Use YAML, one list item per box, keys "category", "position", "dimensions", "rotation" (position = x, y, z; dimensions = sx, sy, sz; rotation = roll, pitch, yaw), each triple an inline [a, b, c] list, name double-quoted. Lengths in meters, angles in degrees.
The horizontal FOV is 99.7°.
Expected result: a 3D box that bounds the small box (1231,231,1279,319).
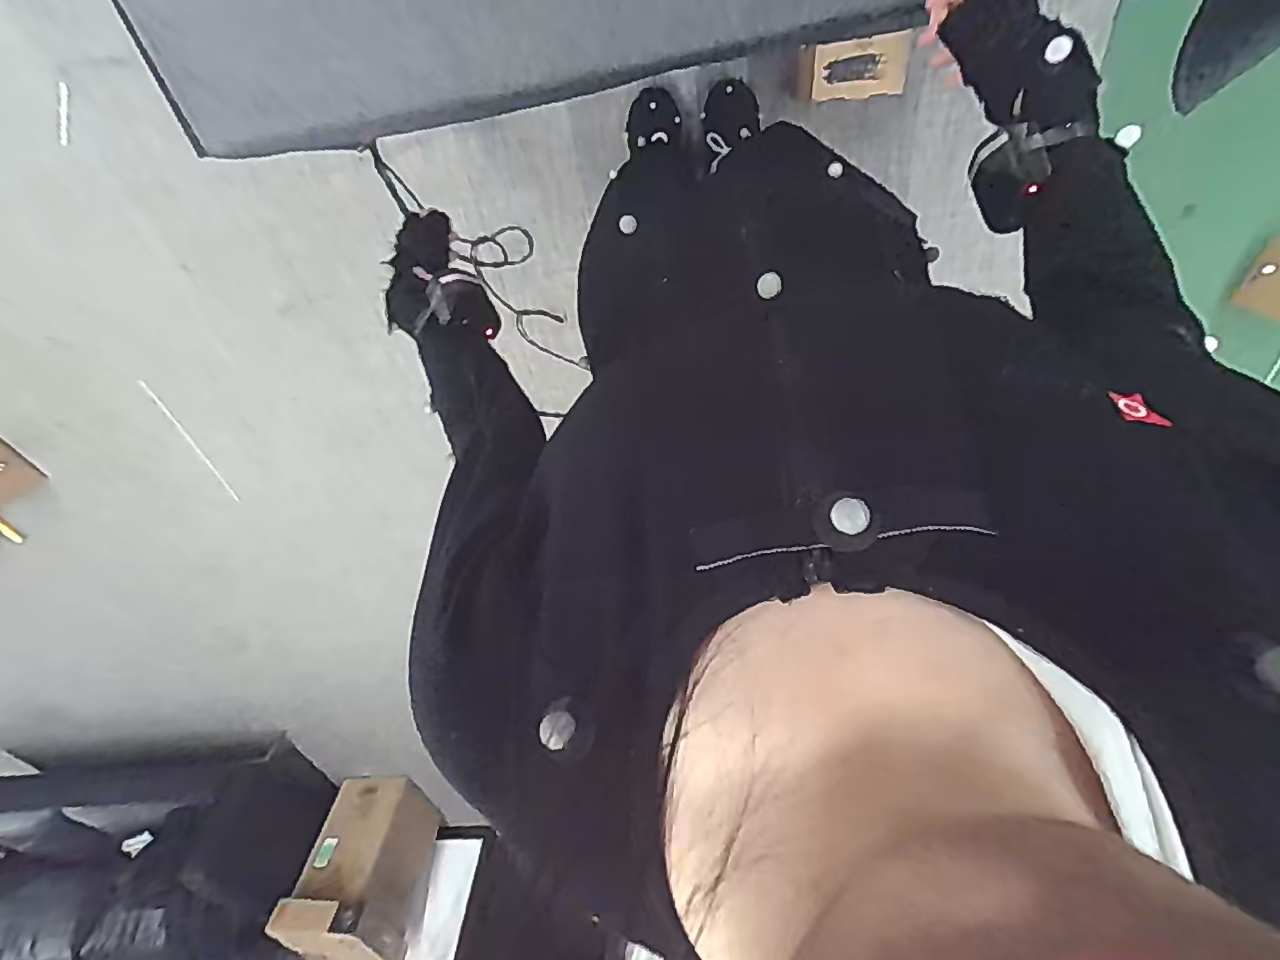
- category: "small box"
  position: [1.527, -0.459, 1.213]
  dimensions: [0.179, 0.176, 0.168]
  rotation: [4, 126, 2]
